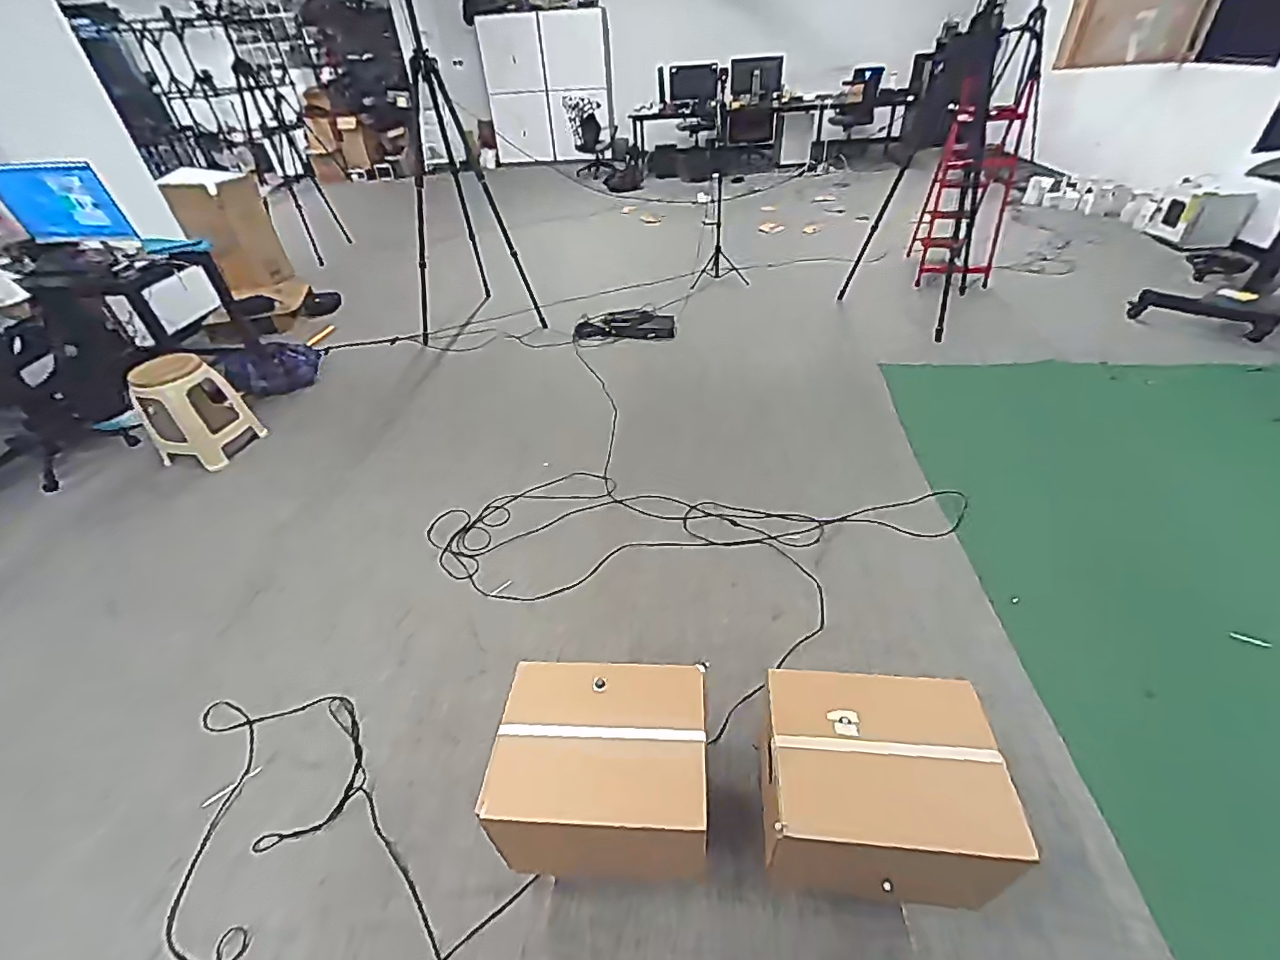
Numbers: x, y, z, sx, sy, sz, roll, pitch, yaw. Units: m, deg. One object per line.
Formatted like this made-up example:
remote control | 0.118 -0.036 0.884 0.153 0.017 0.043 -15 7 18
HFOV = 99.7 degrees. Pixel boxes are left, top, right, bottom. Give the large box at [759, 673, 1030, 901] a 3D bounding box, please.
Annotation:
large box | 0.464 0.622 1.104 0.408 0.320 0.320 1 39 7
